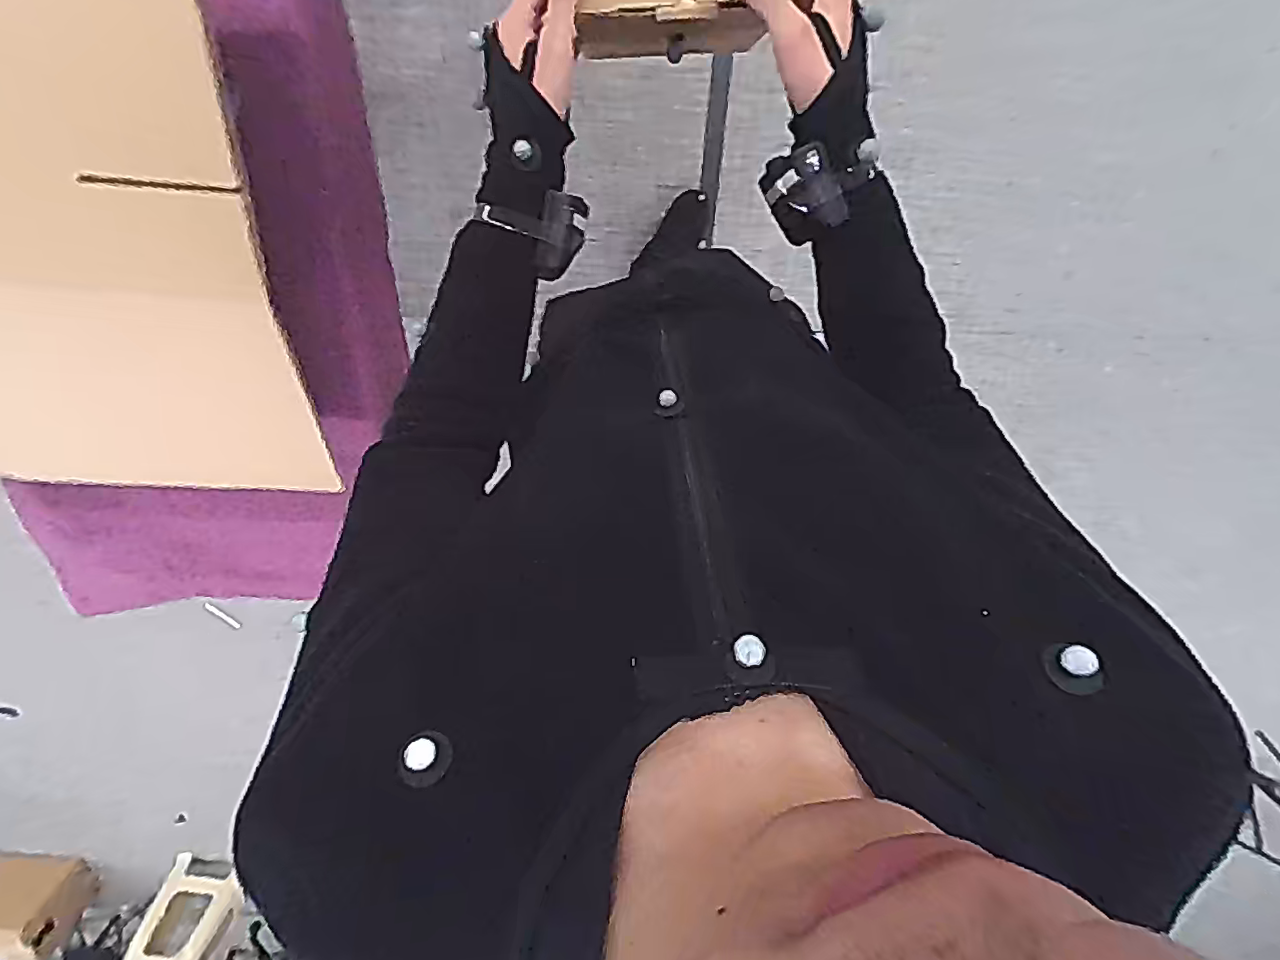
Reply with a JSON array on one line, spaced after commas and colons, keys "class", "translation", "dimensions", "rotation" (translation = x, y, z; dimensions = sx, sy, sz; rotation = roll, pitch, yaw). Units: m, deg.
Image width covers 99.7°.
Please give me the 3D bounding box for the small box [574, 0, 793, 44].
[{"class": "small box", "translation": [0.028, -0.458, 0.417], "dimensions": [0.168, 0.176, 0.179], "rotation": [-4, 120, -1]}]
